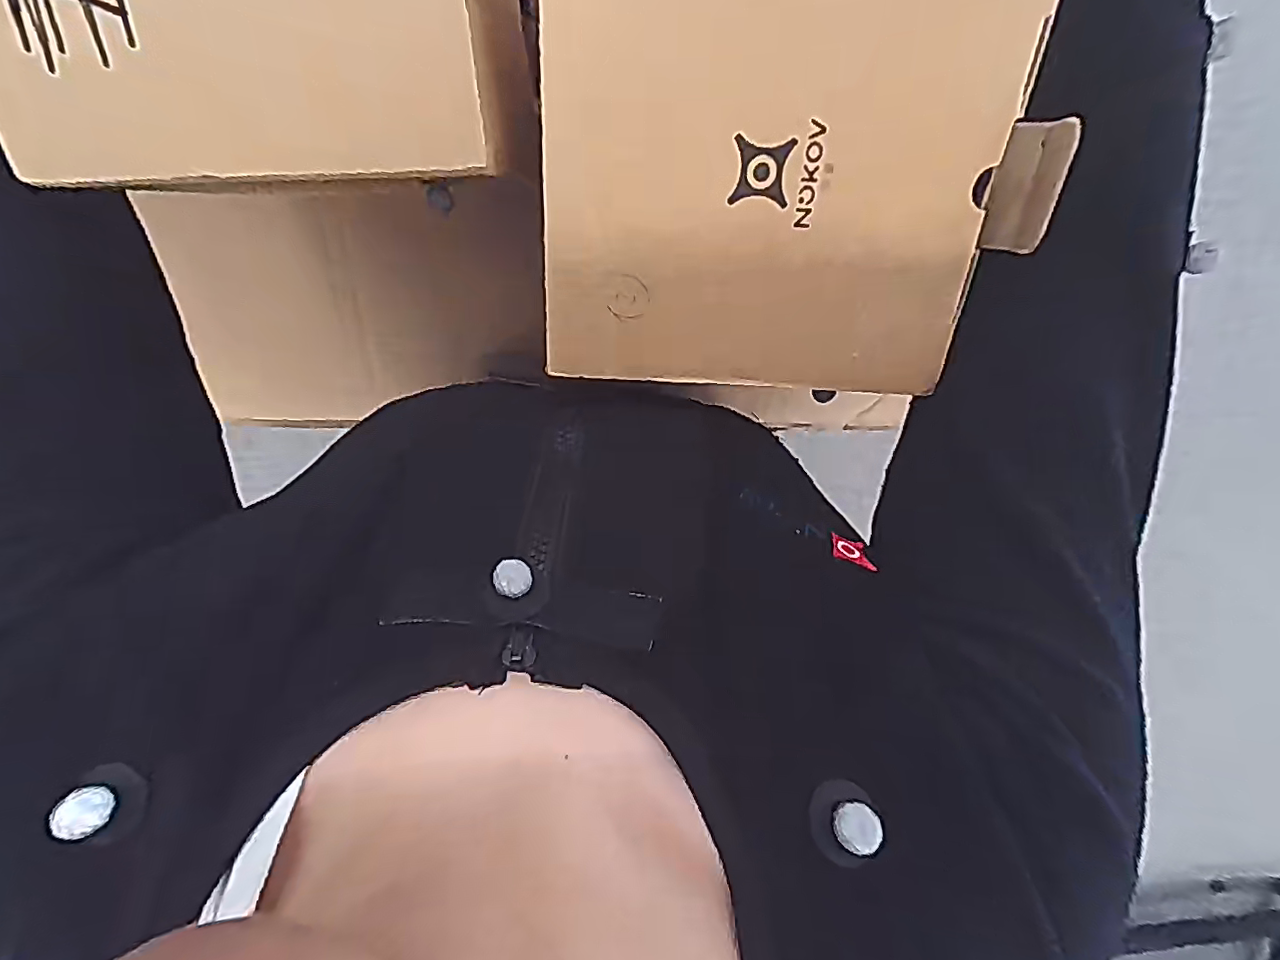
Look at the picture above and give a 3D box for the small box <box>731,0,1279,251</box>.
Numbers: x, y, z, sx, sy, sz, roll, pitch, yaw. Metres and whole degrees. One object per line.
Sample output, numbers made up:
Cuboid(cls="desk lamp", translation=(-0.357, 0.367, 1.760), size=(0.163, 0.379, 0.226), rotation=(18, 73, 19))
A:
Cuboid(cls="small box", translation=(0.154, -0.215, 0.229), size=(0.179, 0.176, 0.168), rotation=(15, 123, -8))
